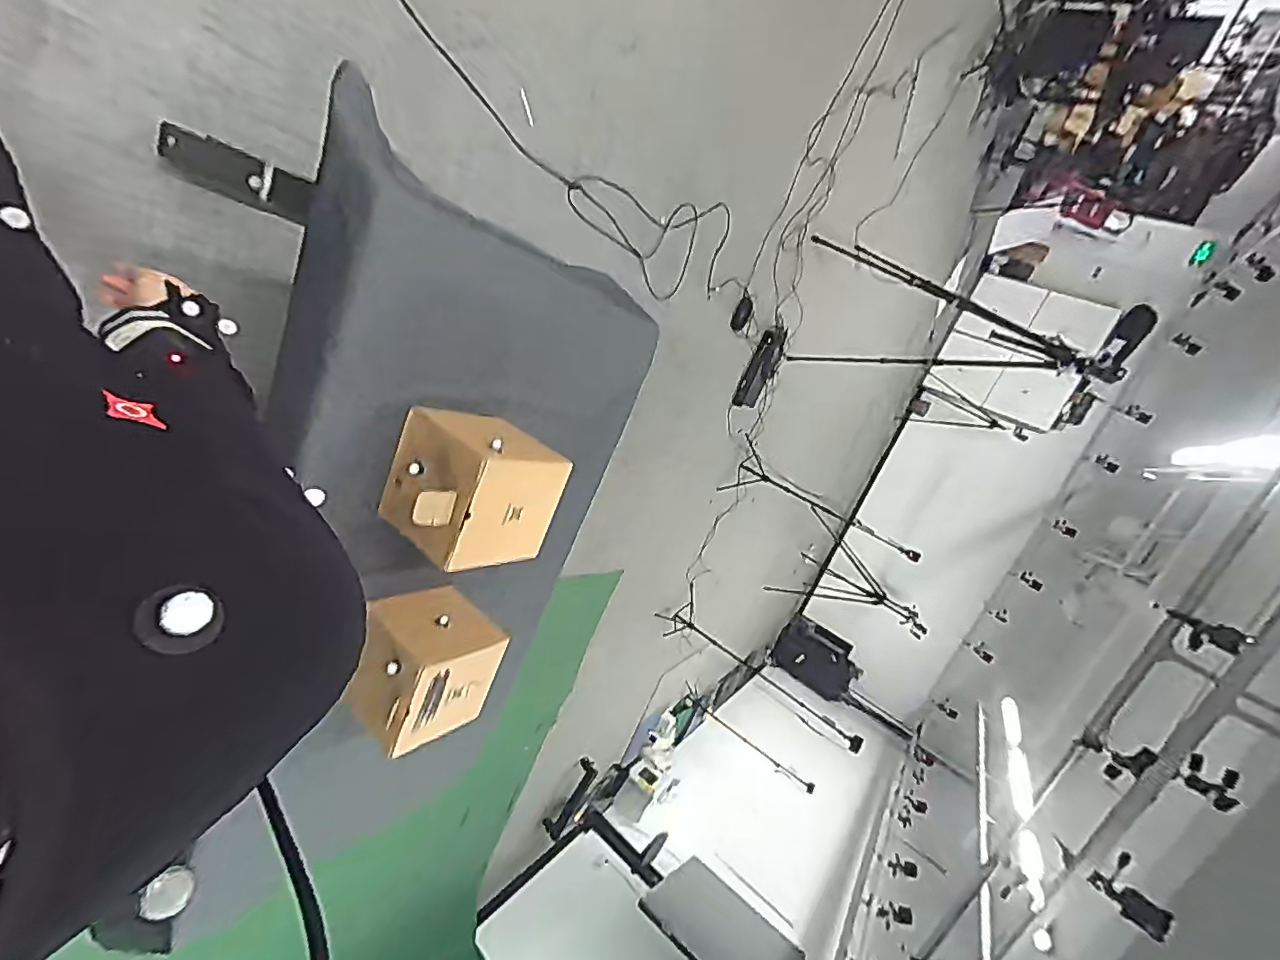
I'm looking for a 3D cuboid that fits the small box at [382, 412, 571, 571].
[{"bbox_3d":[-0.240,0.011,0.801,0.179,0.176,0.168,-1,118,-58],"label":"small box"}]
